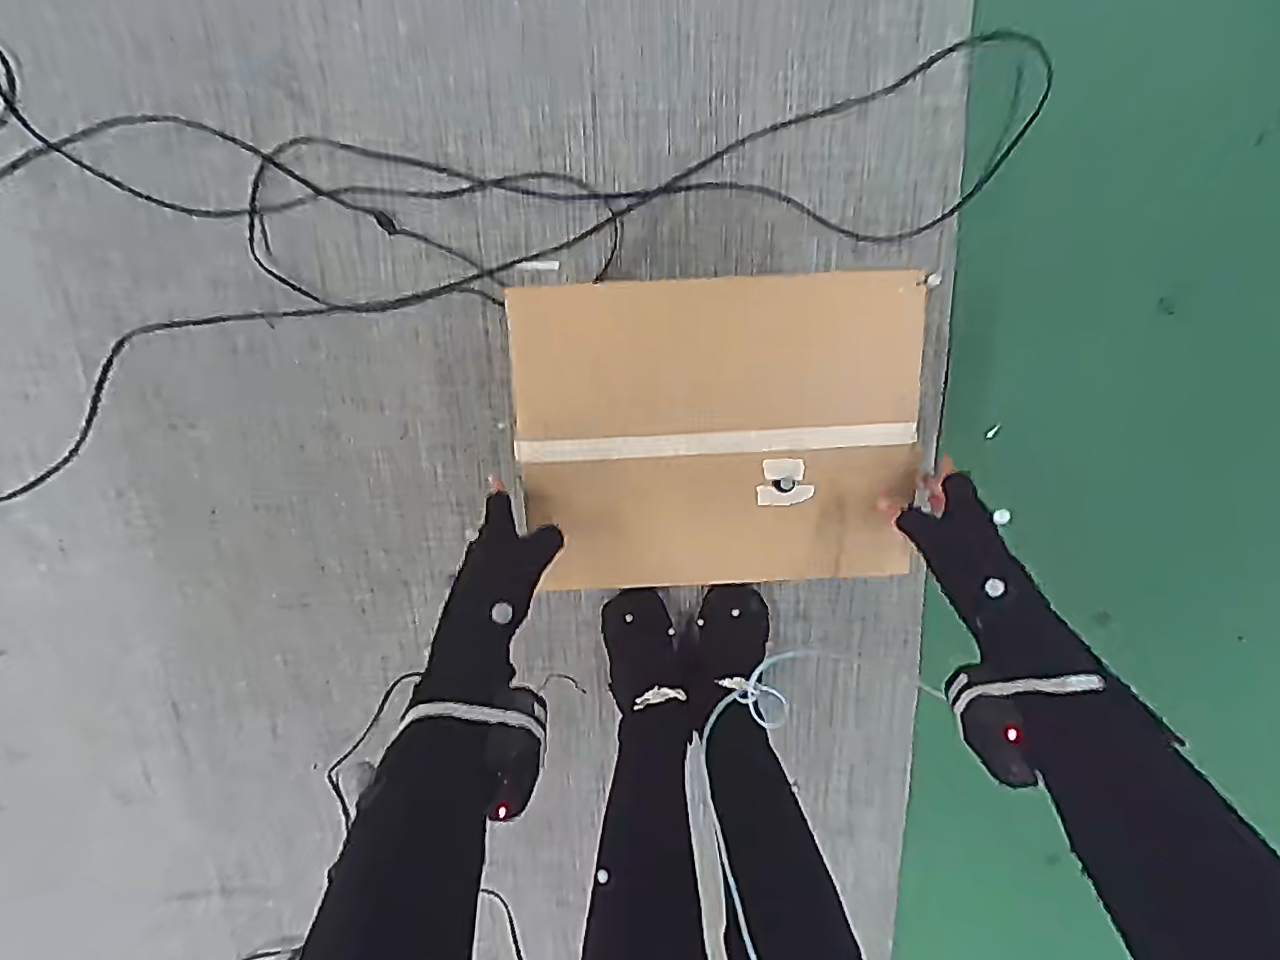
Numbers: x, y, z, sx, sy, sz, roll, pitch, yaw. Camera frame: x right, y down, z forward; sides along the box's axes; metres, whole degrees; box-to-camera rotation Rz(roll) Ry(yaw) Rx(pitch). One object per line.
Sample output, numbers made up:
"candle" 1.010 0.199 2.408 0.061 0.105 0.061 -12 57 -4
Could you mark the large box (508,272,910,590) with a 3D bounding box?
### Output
"large box" 0.073 -0.072 0.704 0.408 0.320 0.320 -3 103 0
